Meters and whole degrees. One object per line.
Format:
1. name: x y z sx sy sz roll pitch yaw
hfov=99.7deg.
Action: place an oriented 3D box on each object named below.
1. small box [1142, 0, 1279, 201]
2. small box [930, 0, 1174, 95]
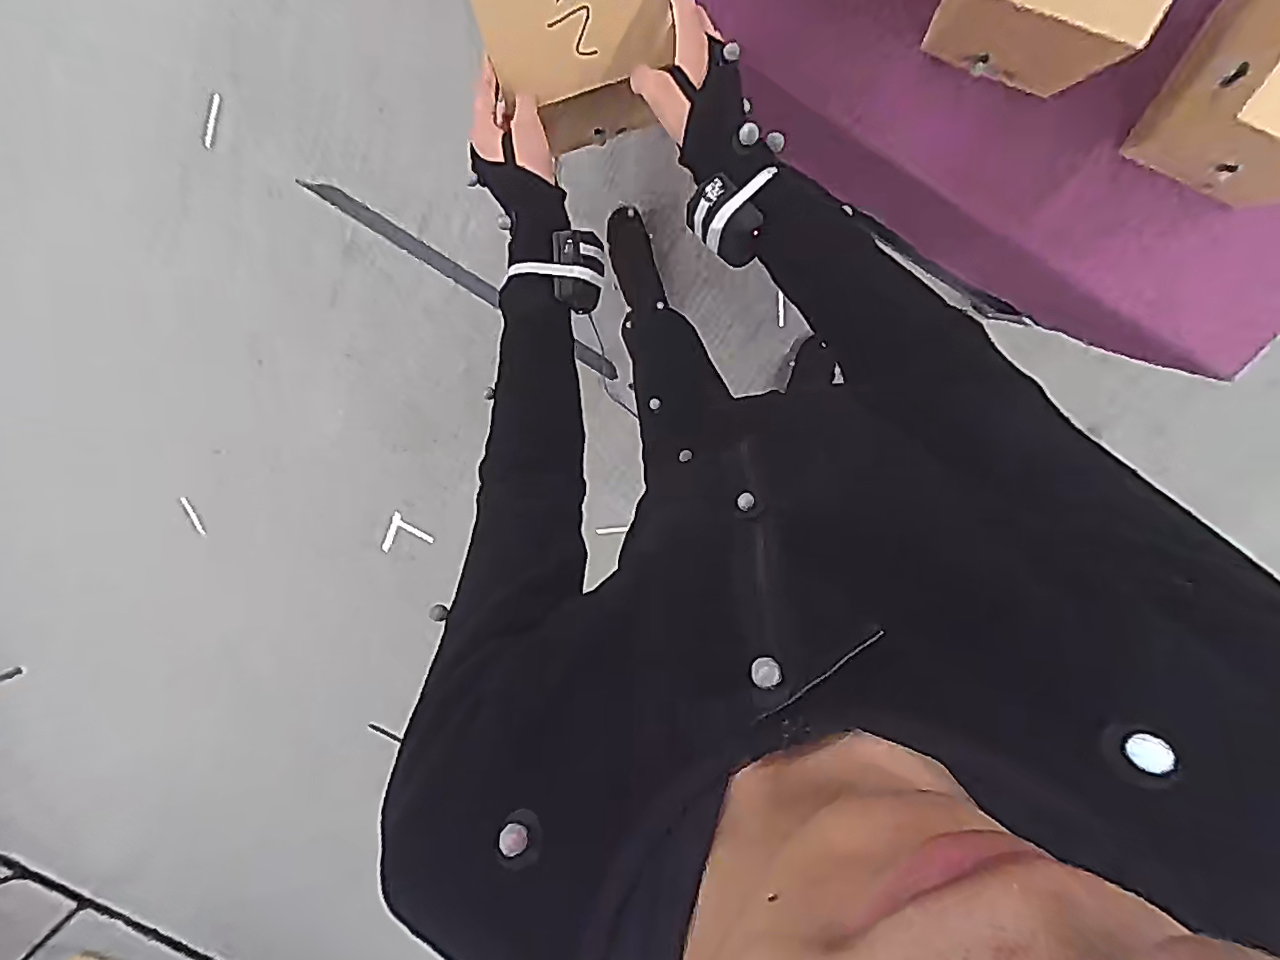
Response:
1. small box: 0.669 -0.401 0.537 0.168 0.176 0.179 24 113 -1
2. small box: 0.421 -0.524 0.529 0.168 0.176 0.179 21 113 1
